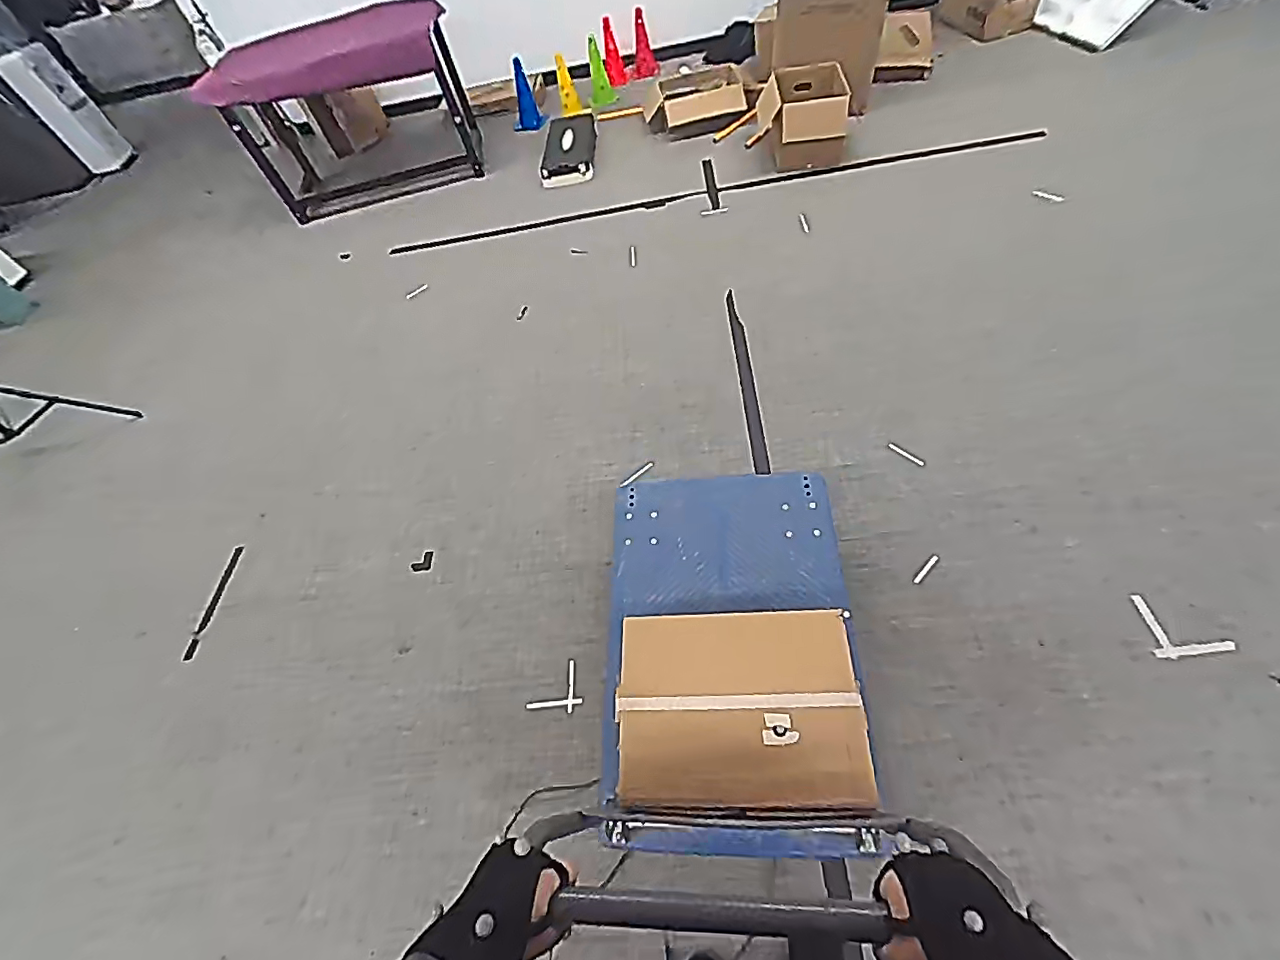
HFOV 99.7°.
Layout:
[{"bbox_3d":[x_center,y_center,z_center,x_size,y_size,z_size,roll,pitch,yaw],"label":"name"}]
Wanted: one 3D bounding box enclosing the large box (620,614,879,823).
[{"bbox_3d":[0.182,0.467,1.034,0.408,0.320,0.320,-4,57,7],"label":"large box"}]
